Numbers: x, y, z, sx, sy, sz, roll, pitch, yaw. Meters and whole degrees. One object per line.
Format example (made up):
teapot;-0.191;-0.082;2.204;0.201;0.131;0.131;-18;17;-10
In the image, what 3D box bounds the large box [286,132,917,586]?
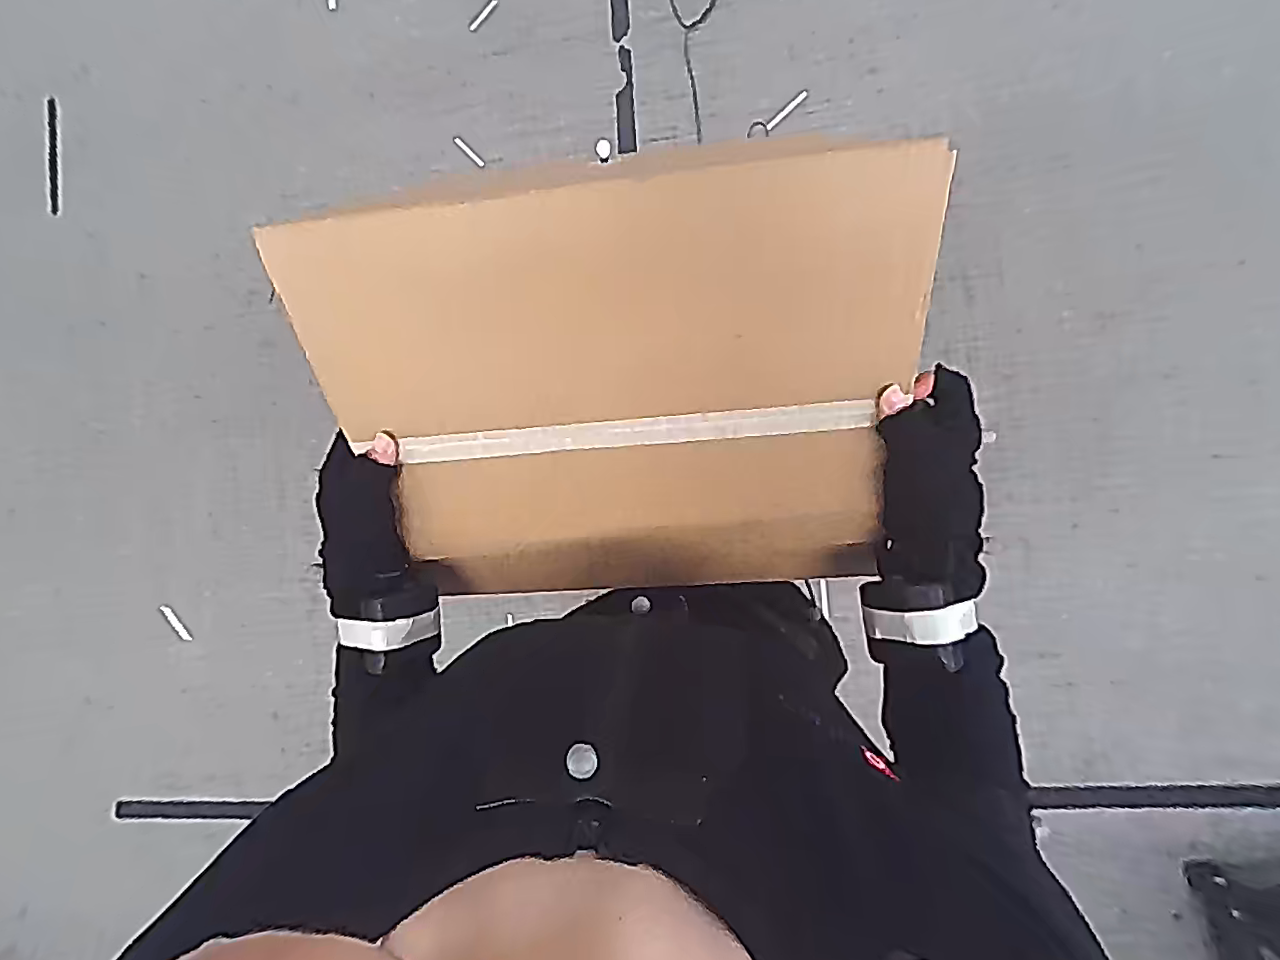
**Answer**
large box;-0.008;-0.126;0.531;0.408;0.320;0.320;-5;123;7
